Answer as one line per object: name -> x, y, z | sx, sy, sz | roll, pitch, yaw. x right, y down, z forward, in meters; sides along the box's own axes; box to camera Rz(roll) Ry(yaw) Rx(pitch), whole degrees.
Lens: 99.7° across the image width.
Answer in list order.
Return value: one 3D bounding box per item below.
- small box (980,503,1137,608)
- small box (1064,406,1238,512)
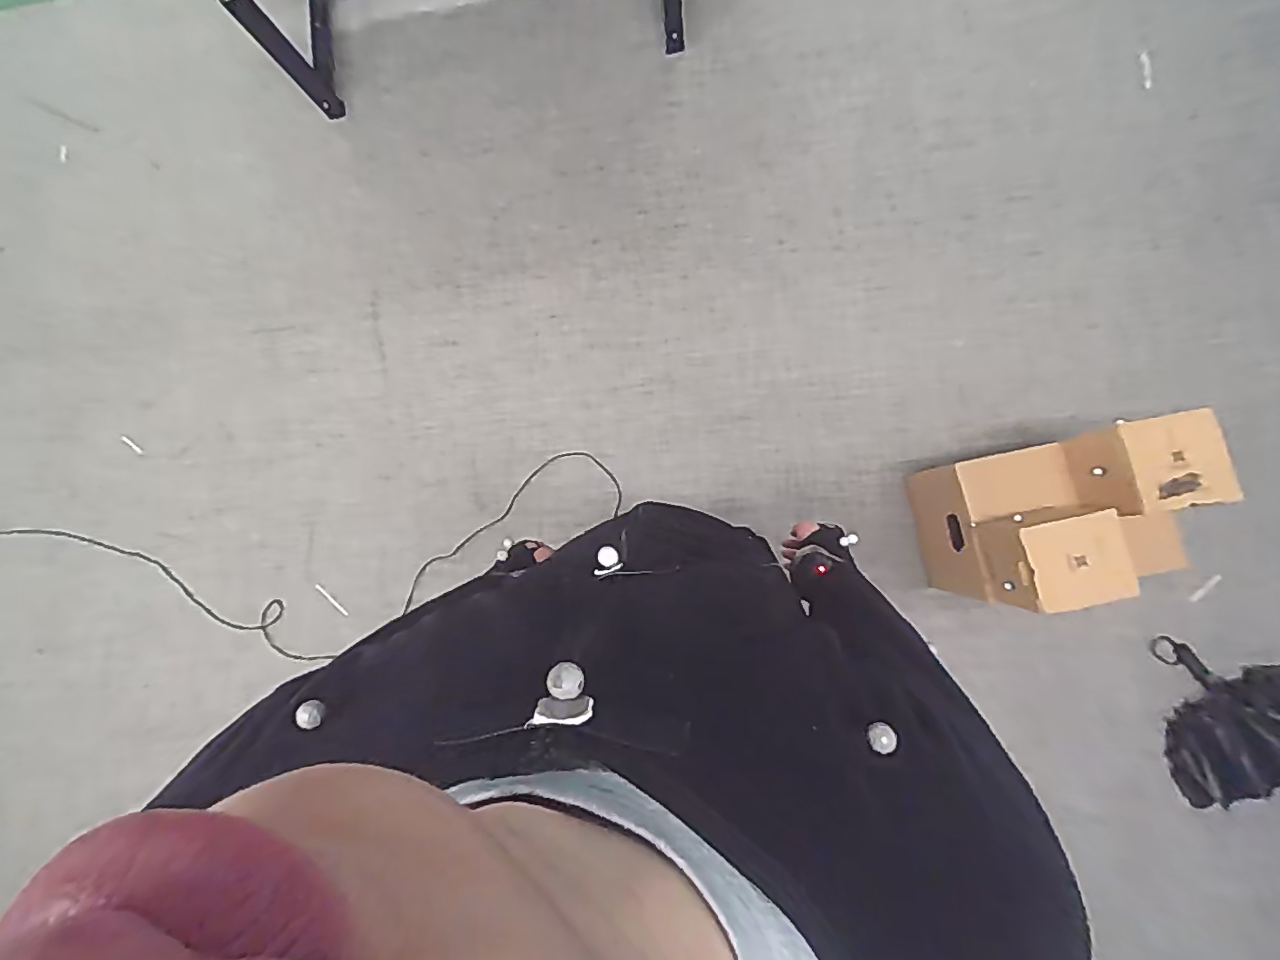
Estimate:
small box -> 0.816, 0.145, 1.081 | 0.179, 0.176, 0.168 | -15, 87, 4
small box -> 0.995, -0.031, 1.072 | 0.168, 0.176, 0.179 | -10, 82, 6
